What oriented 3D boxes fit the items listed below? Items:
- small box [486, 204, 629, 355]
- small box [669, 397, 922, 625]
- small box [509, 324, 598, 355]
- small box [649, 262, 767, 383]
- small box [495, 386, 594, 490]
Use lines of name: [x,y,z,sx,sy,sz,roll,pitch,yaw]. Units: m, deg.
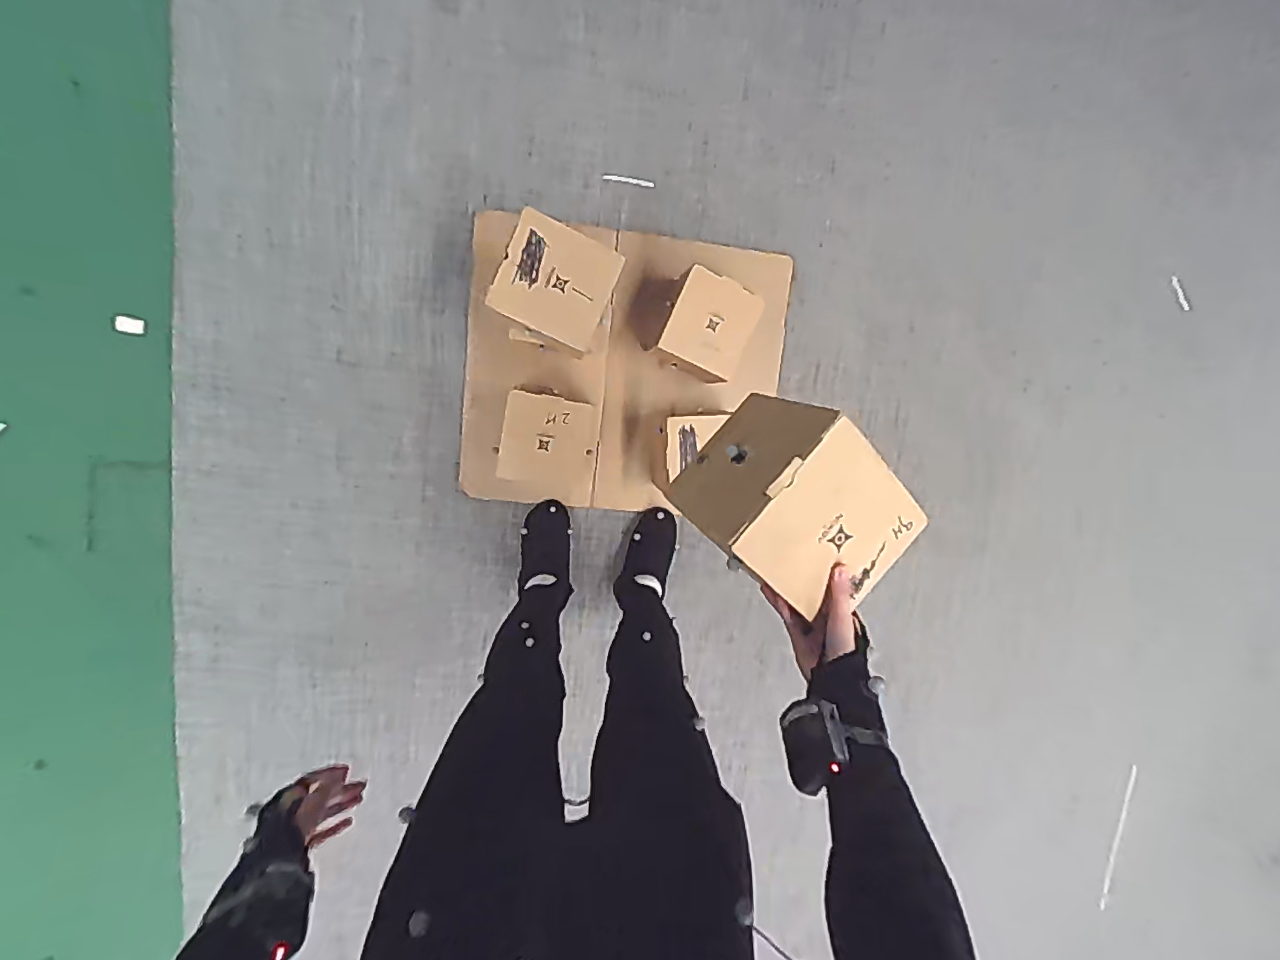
small box: [-0.140,-0.325,0.921,0.179,0.176,0.168,24,94,-12]
small box: [0.162,0.022,0.606,0.179,0.176,0.168,42,88,-23]
small box: [-0.162,-0.352,1.082,0.168,0.176,0.179,7,97,-9]
small box: [0.131,-0.317,1.124,0.168,0.176,0.179,24,94,-10]
small box: [-0.193,-0.091,1.115,0.168,0.176,0.179,11,97,-10]
